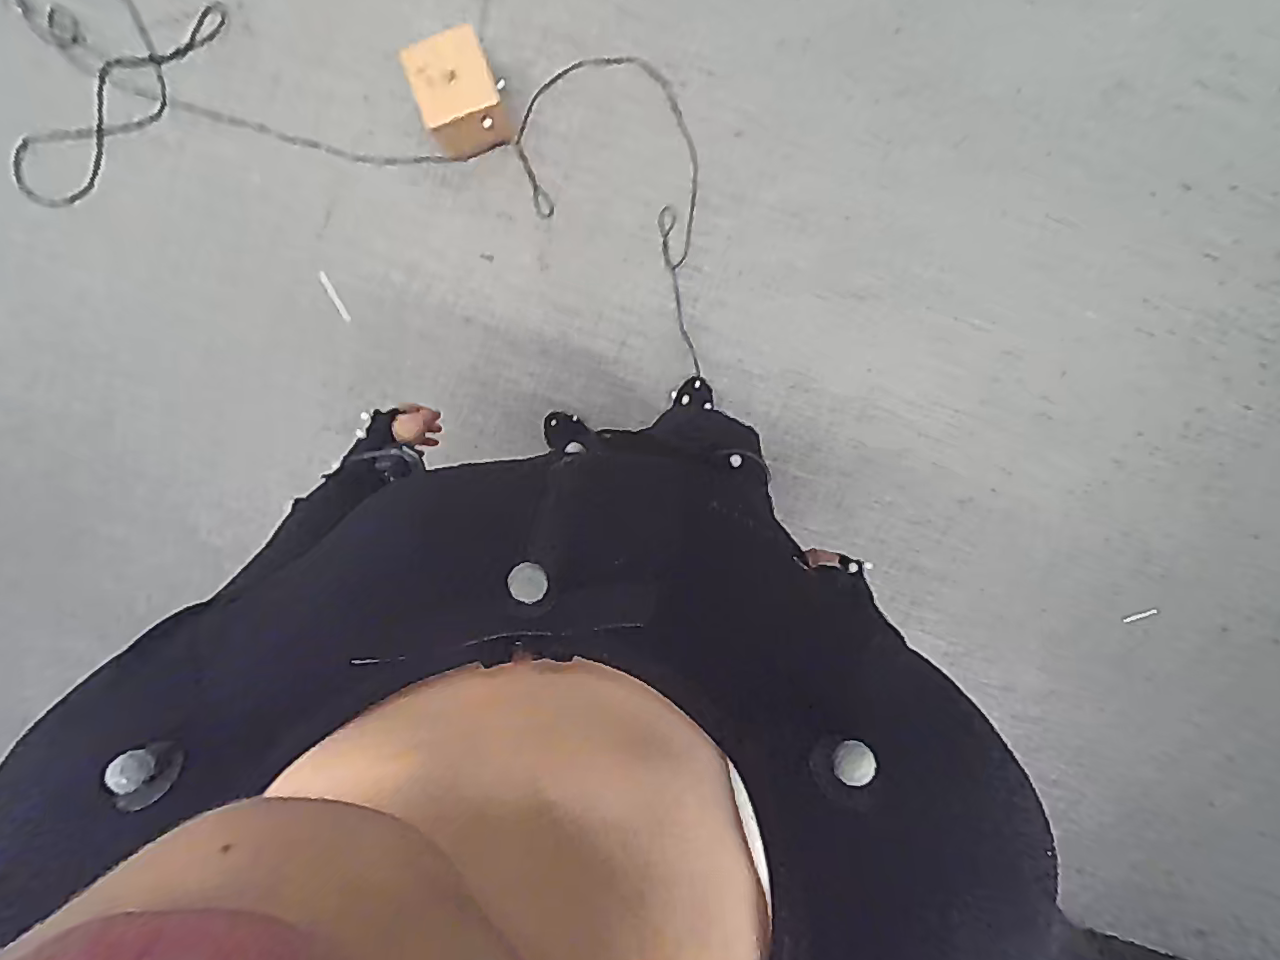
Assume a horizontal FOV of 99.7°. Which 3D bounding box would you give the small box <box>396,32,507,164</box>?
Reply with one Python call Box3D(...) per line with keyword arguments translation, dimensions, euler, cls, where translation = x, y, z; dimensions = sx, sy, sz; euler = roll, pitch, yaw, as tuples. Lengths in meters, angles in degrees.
Box3D(translation=(-0.423, -0.874, 1.255), dimensions=(0.179, 0.176, 0.168), euler=(-19, 98, 4), cls="small box")
